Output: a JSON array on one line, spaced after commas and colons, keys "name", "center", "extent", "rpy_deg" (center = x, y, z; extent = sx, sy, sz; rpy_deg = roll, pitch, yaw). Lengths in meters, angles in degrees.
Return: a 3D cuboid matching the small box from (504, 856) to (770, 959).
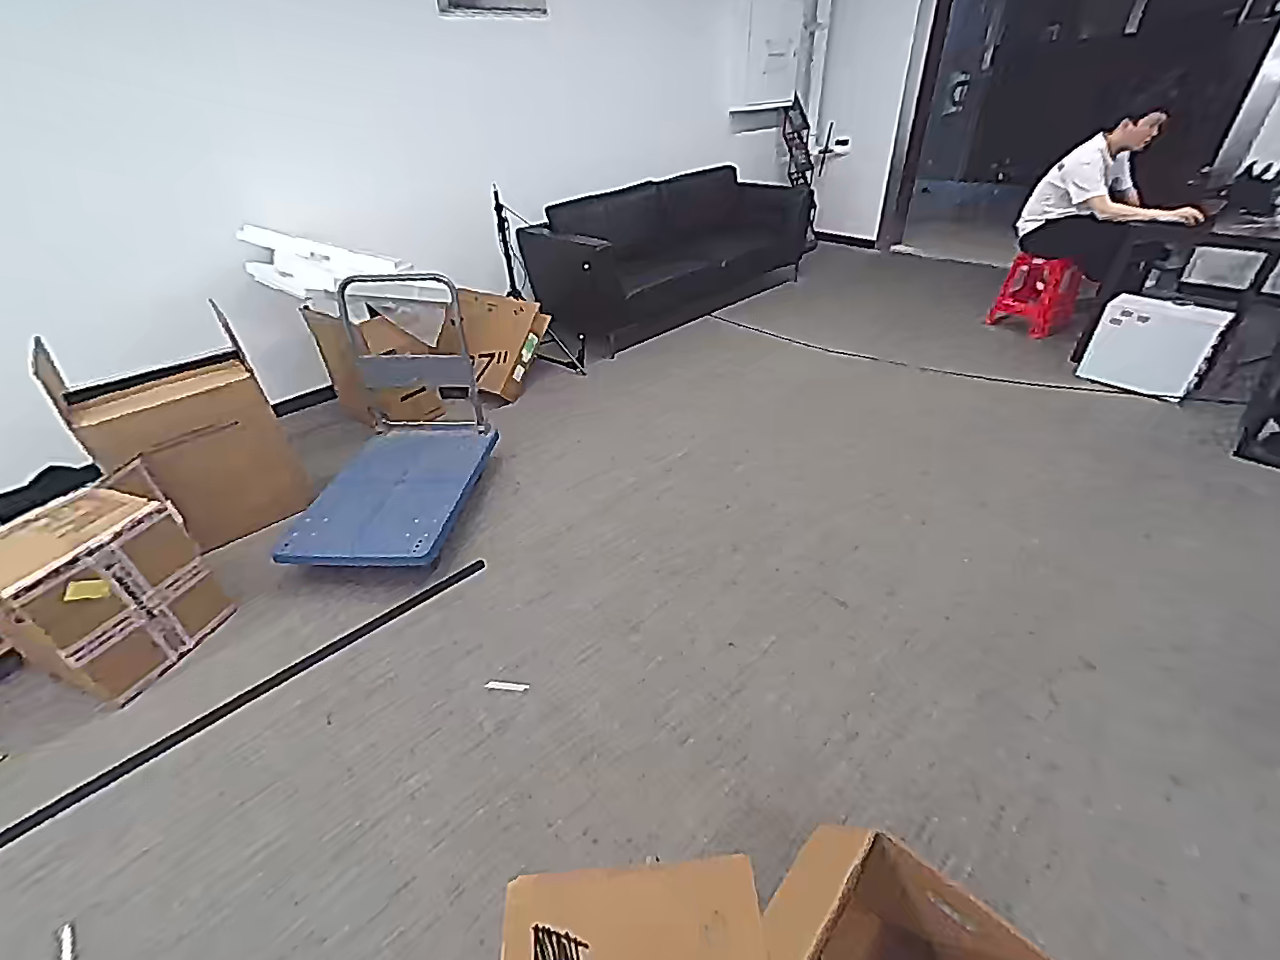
[{"name": "small box", "center": [0.010, 0.385, 0.385], "extent": [0.179, 0.176, 0.168], "rpy_deg": [-8, 48, 3]}]
